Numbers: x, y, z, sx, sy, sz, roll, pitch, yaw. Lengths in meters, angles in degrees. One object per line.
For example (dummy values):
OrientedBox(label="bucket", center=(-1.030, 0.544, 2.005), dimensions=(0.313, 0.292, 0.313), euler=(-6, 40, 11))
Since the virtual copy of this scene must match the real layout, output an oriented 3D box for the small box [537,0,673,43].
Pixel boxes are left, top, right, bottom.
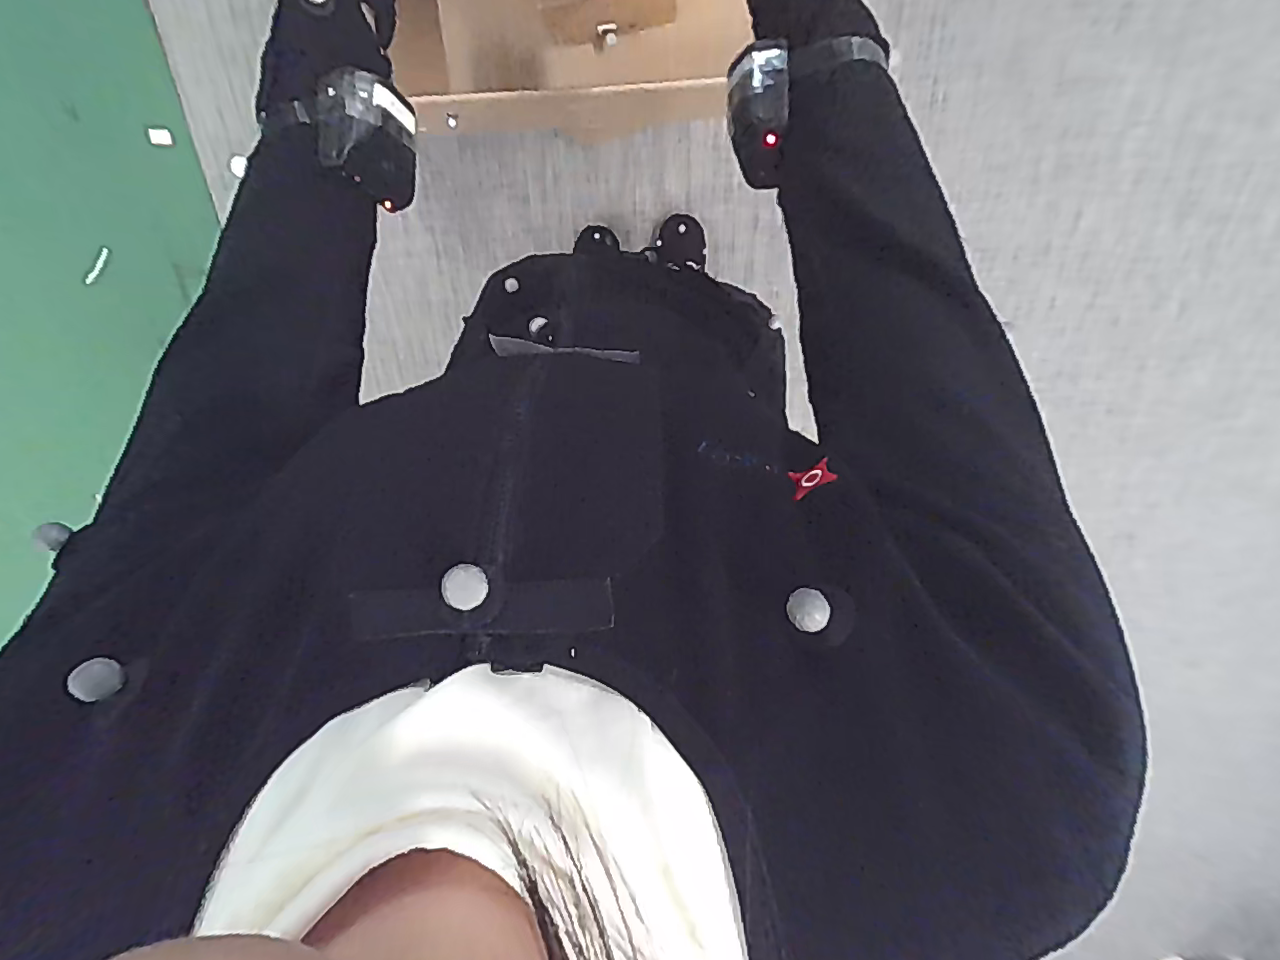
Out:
OrientedBox(label="small box", center=(-0.051, -0.670, 0.650), dimensions=(0.168, 0.176, 0.179), euler=(-7, 116, 8))
